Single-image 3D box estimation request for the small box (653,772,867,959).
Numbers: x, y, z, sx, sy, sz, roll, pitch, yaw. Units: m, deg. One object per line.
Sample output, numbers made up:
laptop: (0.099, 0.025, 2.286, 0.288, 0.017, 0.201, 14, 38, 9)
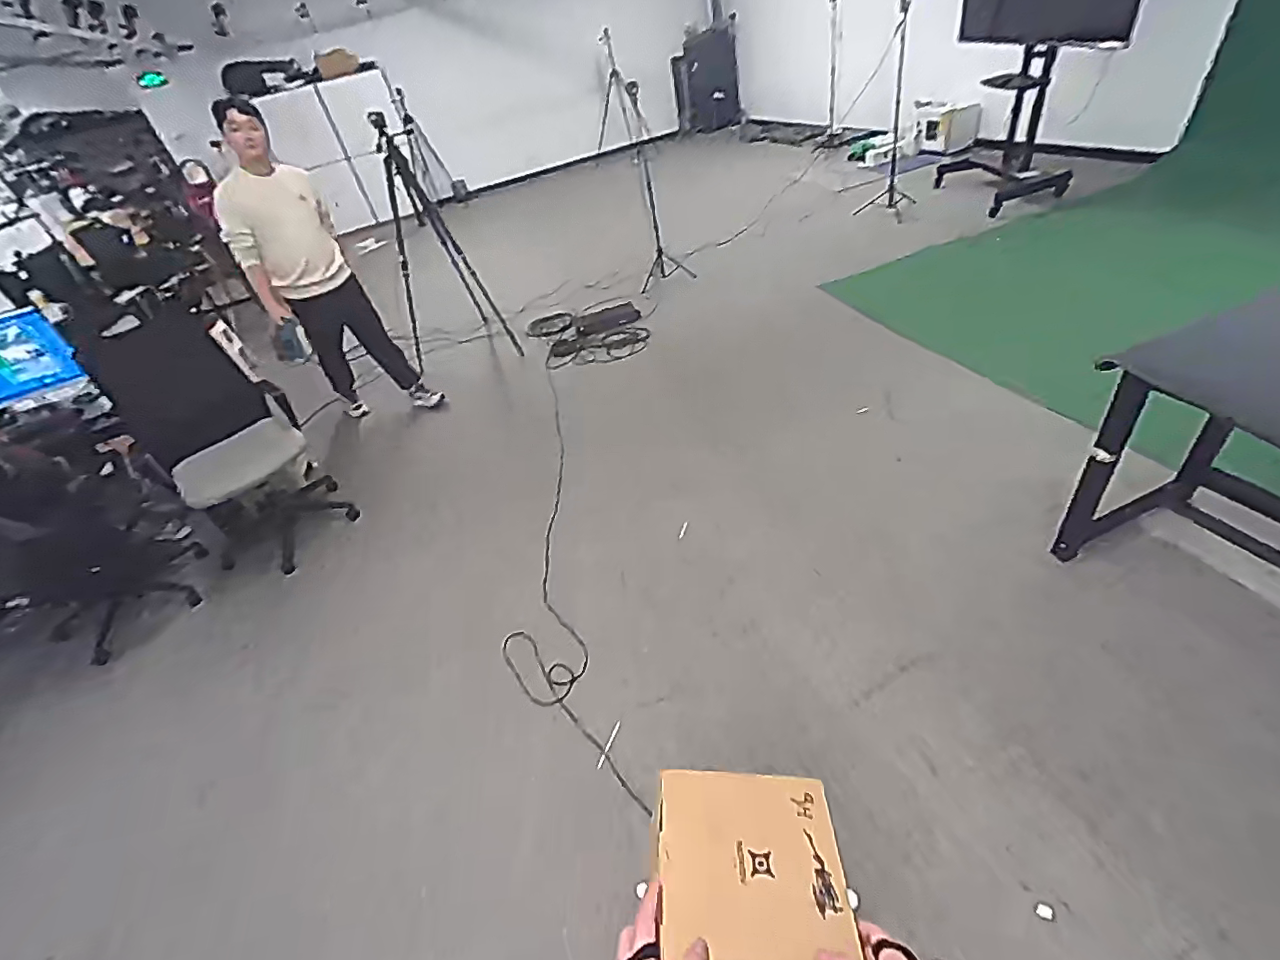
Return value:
small box: (0.104, 0.430, 0.555, 0.179, 0.176, 0.168, 4, 34, 0)
